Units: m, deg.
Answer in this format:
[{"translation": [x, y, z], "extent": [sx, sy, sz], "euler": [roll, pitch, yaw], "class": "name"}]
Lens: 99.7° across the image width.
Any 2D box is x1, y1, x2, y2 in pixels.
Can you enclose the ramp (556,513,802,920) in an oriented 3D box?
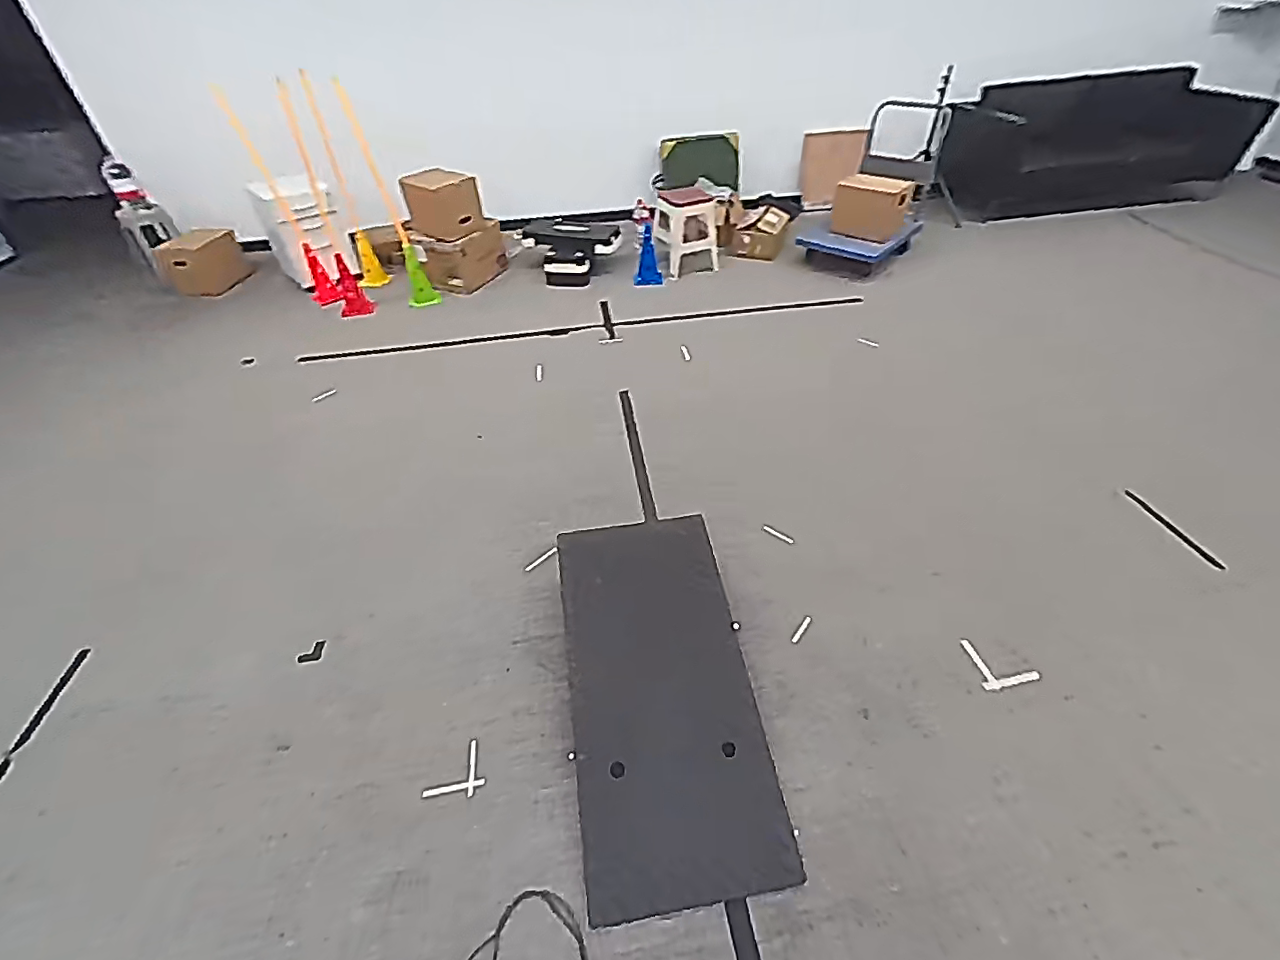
[{"translation": [0.051, 0.536, 1.494], "extent": [0.509, 0.206, 0.991], "euler": [-8, 43, -8], "class": "ramp"}]
